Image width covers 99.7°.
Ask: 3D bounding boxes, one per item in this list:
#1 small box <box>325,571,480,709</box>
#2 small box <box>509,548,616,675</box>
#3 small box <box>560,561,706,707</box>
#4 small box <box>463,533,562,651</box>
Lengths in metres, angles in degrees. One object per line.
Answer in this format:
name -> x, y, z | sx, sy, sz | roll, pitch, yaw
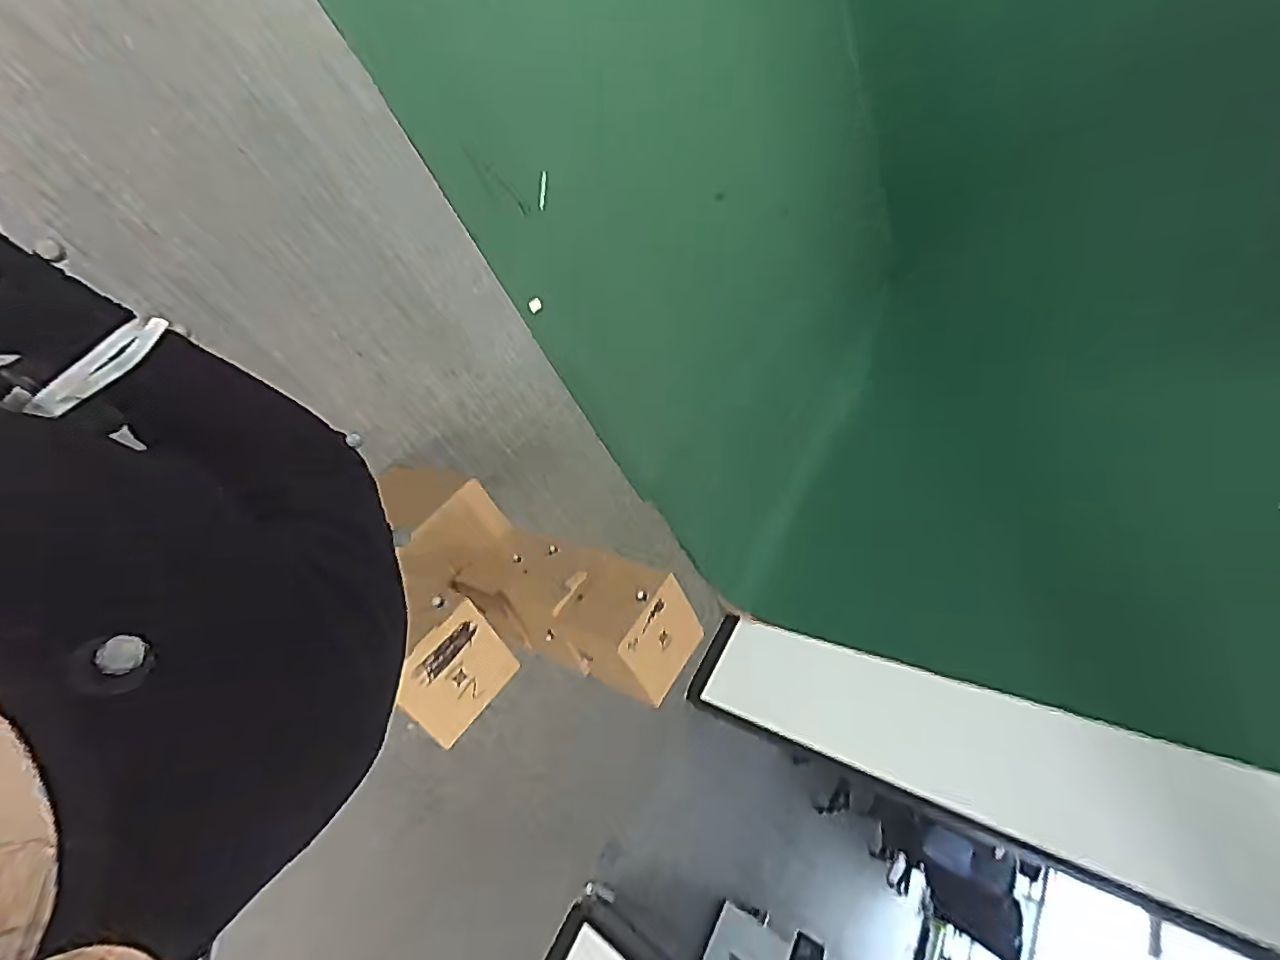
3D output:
small box -> -0.446, 0.288, 1.012 | 0.168, 0.176, 0.179 | -51, 128, -29
small box -> -0.135, 0.253, 1.095 | 0.168, 0.176, 0.179 | -42, 125, -35
small box -> -0.011, 0.271, 0.988 | 0.168, 0.176, 0.179 | -49, 128, -31
small box -> -0.257, 0.239, 1.205 | 0.179, 0.176, 0.168 | -43, 124, -33
